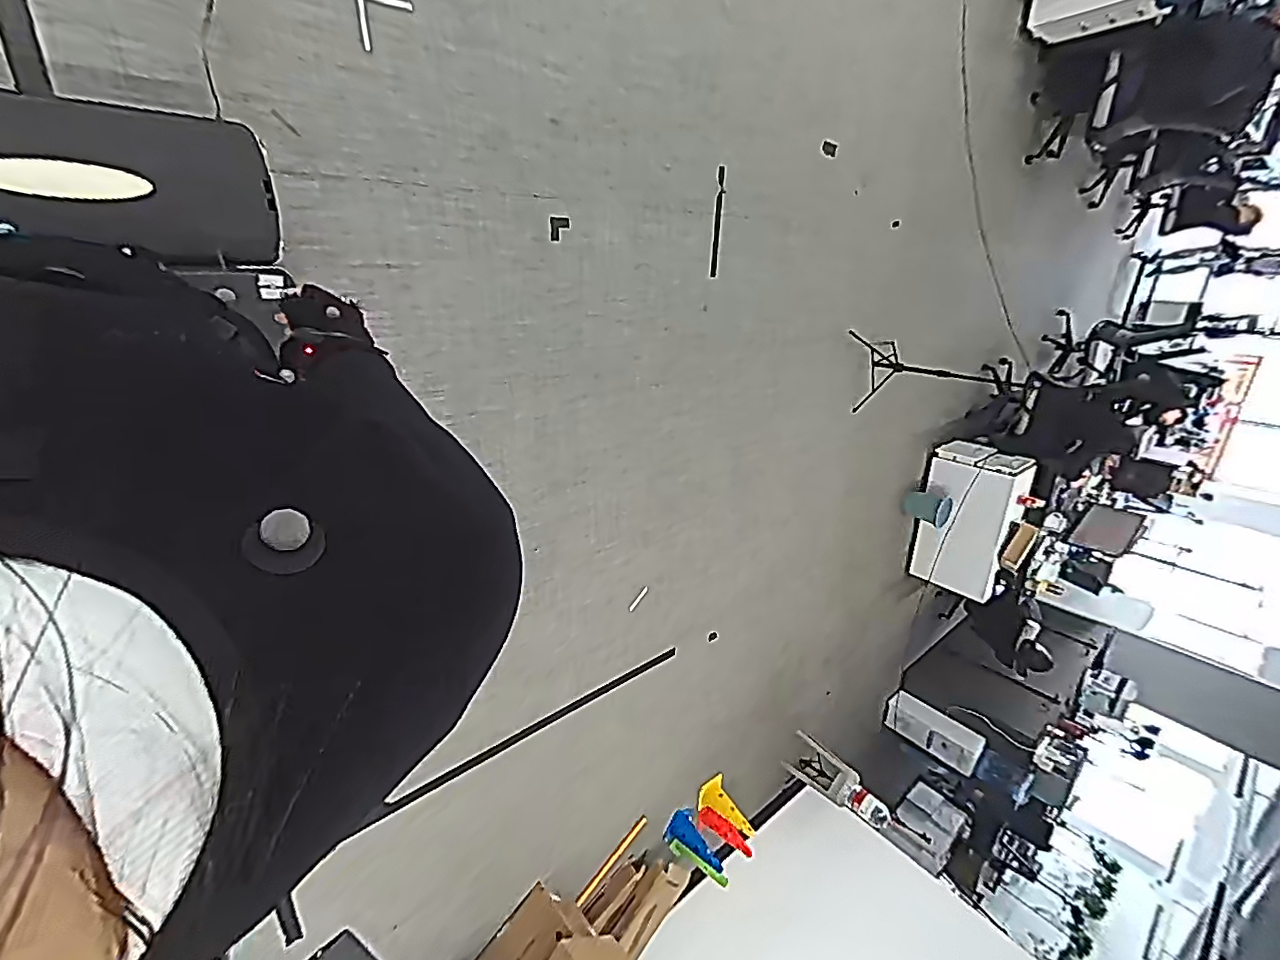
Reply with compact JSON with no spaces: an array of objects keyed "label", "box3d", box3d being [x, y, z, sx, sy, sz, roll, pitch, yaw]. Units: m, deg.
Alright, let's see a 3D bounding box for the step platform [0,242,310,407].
[{"label":"step platform","box3d":[-1.068,-0.322,1.093,0.684,0.204,0.286,-16,116,-35]}]
